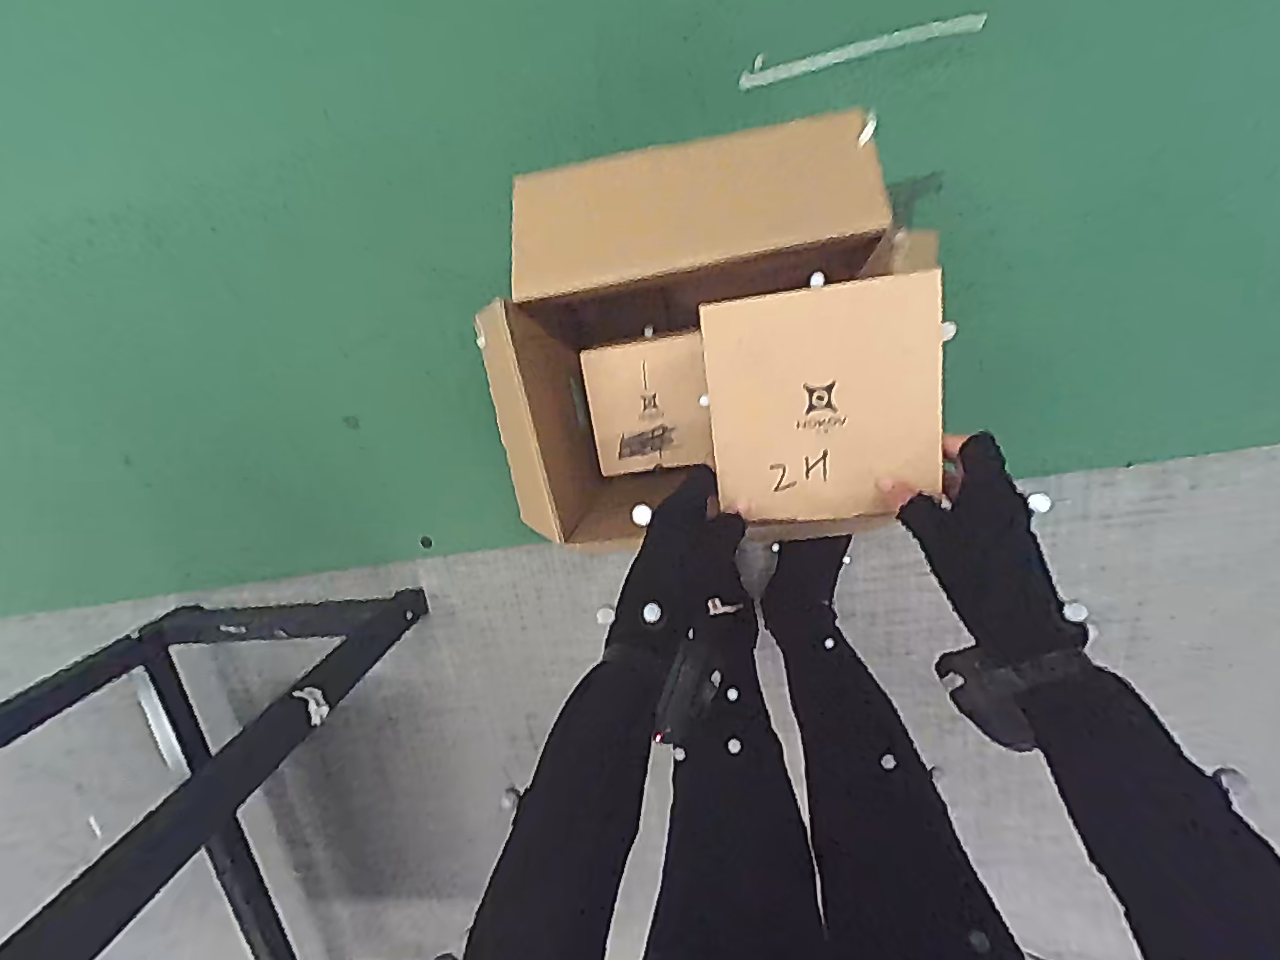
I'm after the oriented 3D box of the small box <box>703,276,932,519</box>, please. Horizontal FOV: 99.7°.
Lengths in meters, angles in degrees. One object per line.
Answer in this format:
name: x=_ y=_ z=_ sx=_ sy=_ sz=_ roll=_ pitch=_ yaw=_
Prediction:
small box: x=0.158 y=-0.075 z=0.493 sx=0.168 sy=0.176 sz=0.179 roll=-4 pitch=104 yaw=19
